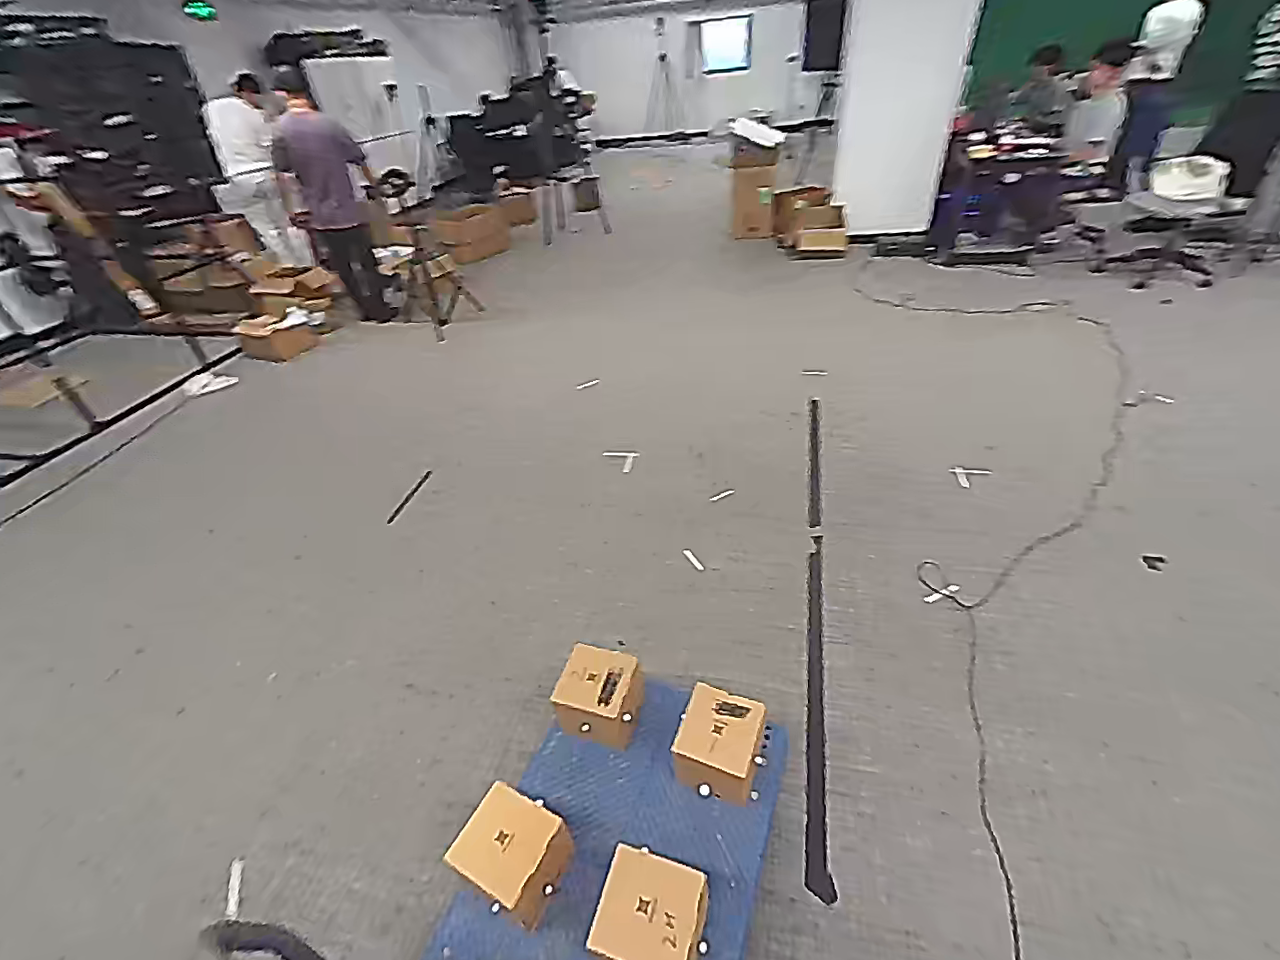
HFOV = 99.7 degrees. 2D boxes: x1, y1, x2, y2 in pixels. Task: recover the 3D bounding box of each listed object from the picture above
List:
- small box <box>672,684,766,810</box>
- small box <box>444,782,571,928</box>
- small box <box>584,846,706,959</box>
[{"bbox_3d":[0.184,0.613,1.245,0.168,0.176,0.179,12,43,23],"label":"small box"},{"bbox_3d":[-0.265,0.774,1.115,0.179,0.176,0.168,16,43,24],"label":"small box"},{"bbox_3d":[0.019,0.825,1.003,0.179,0.176,0.168,8,41,19],"label":"small box"}]
